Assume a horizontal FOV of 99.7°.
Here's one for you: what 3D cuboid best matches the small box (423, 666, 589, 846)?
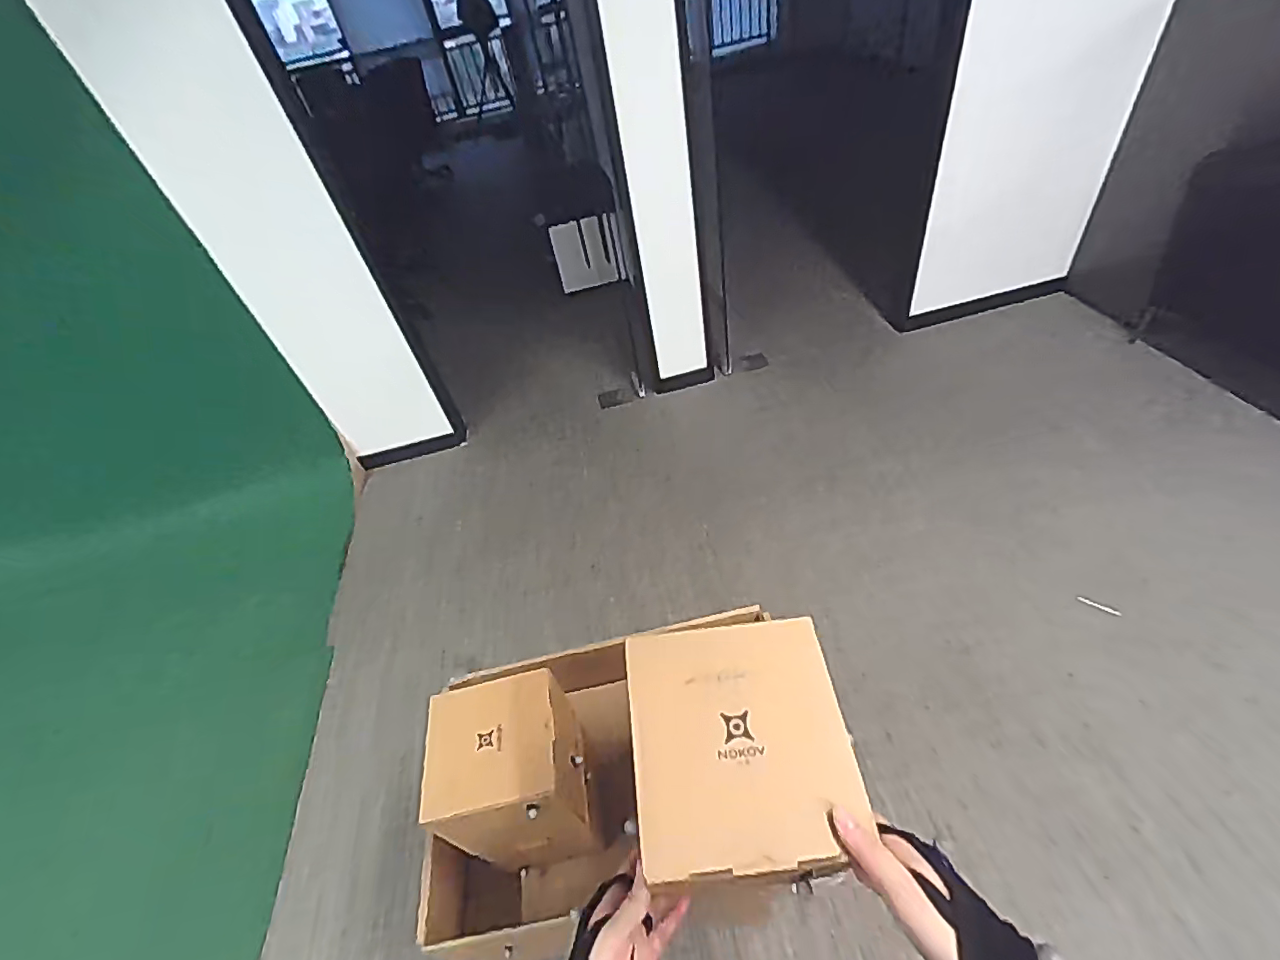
[{"bbox_3d":[-0.184,0.400,0.779,0.179,0.176,0.168,-14,44,-1],"label":"small box"}]

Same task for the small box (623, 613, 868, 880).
[{"bbox_3d":[0.078,0.242,0.482,0.168,0.176,0.179,-6,49,1],"label":"small box"}]
